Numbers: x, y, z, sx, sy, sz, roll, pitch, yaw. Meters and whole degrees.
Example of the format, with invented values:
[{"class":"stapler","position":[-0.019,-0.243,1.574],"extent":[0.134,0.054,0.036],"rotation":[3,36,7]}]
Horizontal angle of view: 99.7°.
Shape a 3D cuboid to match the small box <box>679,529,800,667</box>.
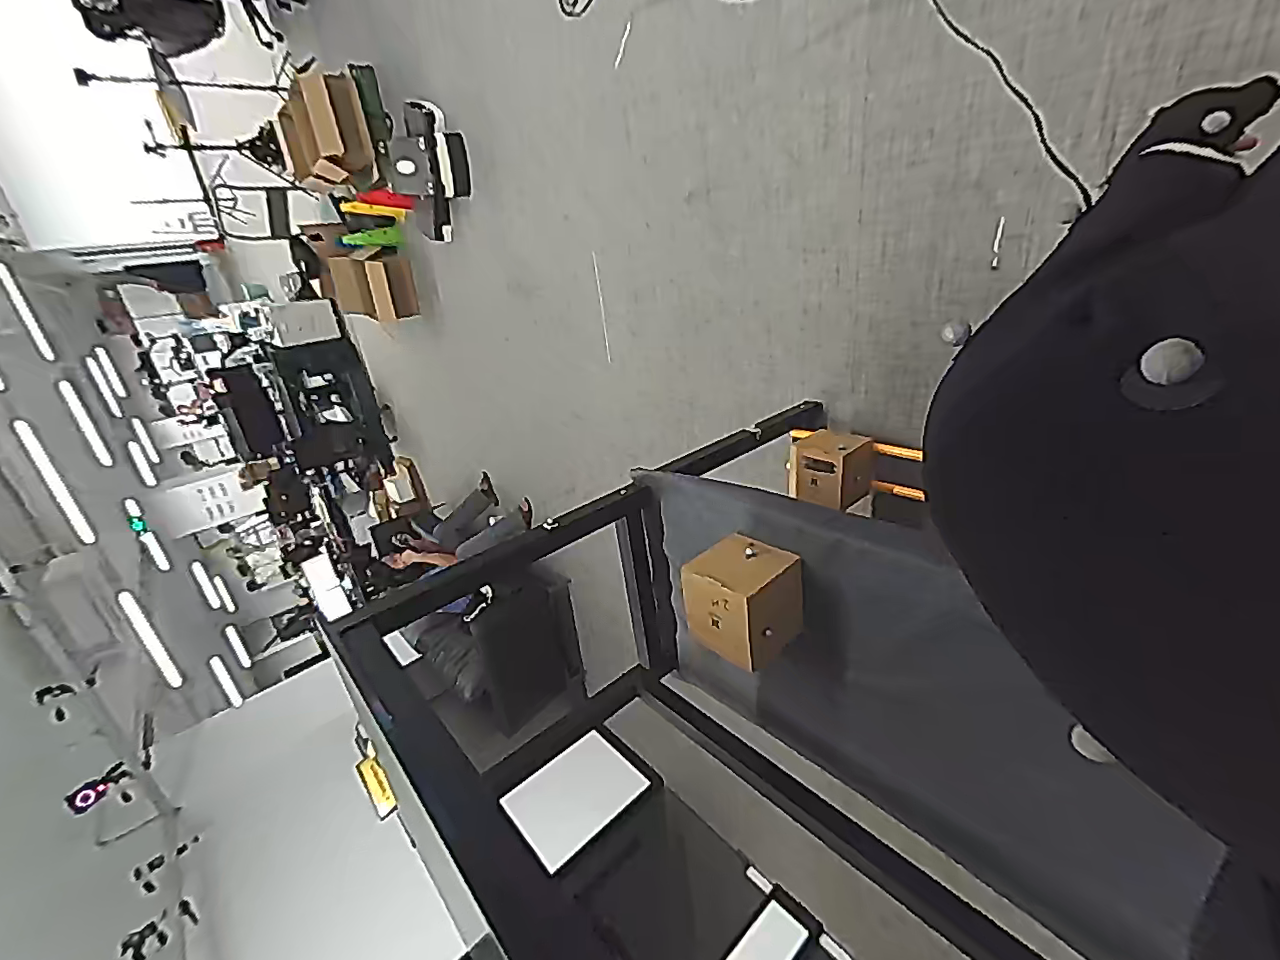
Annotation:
[{"class":"small box","position":[0.201,0.223,1.064],"extent":[0.168,0.176,0.179],"rotation":[17,124,46]}]
